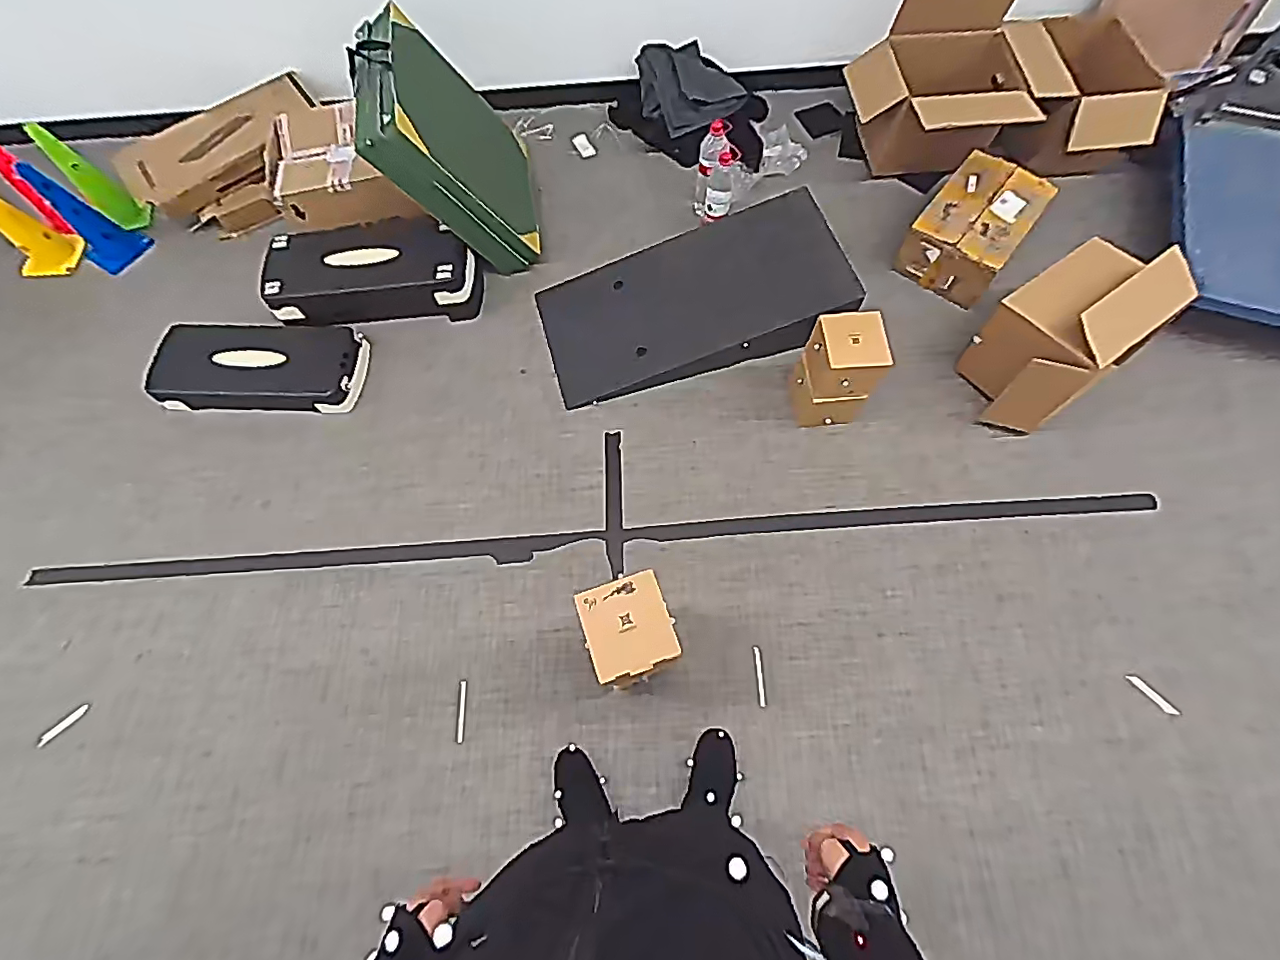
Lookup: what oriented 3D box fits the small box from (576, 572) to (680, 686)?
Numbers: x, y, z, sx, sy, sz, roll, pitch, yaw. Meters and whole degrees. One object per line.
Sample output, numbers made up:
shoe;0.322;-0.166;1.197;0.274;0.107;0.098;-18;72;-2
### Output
small box;-0.022;0.308;1.112;0.168;0.176;0.179;-18;70;-5
